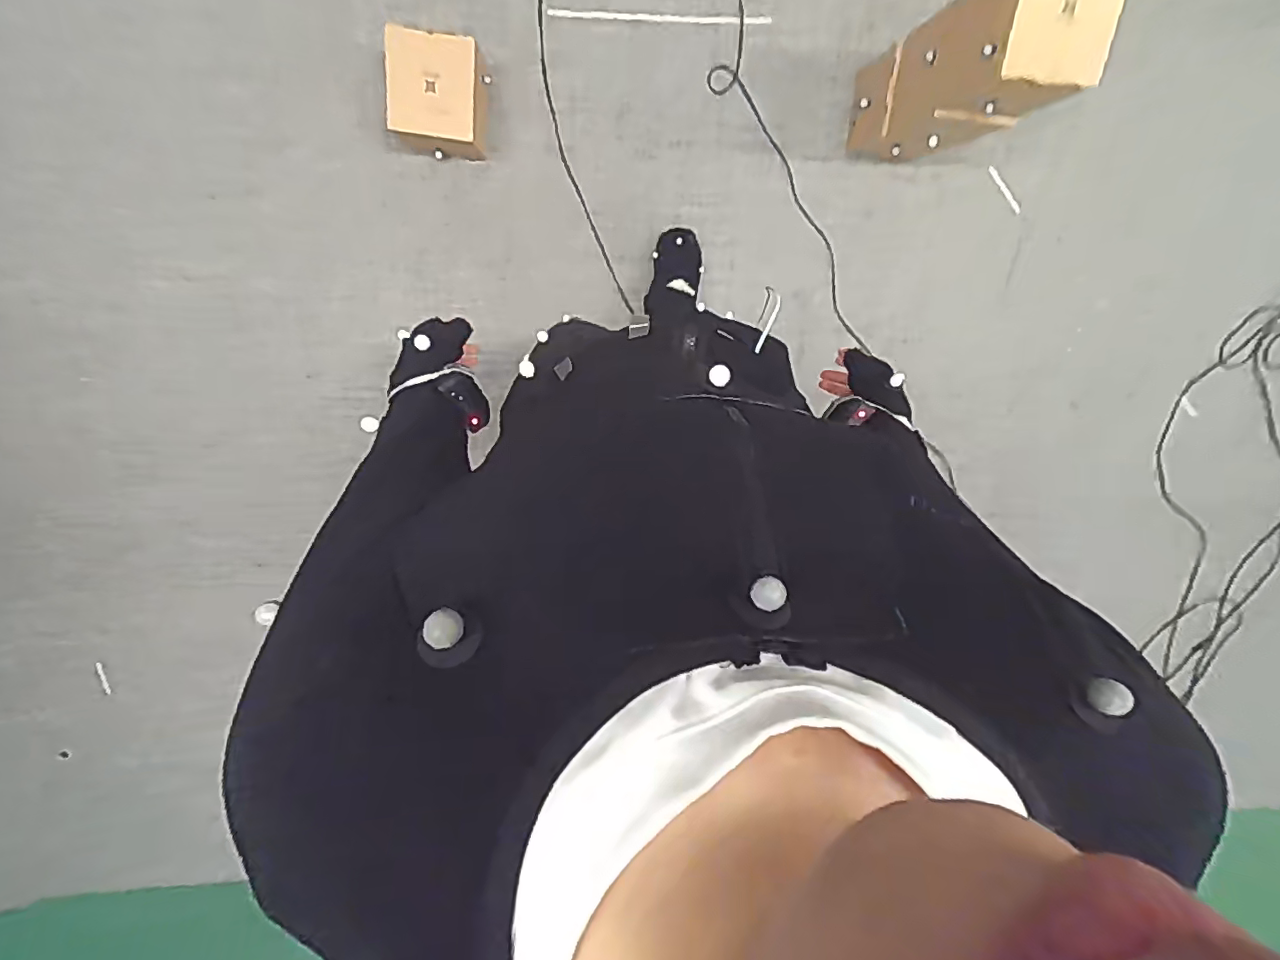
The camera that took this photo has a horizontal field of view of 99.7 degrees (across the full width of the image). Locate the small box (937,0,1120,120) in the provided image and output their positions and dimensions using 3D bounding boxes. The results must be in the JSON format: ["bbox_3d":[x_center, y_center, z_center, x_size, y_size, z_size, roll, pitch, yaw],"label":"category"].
[{"bbox_3d":[0.613,-0.709,0.866,0.168,0.176,0.179,1,110,-6],"label":"small box"}]

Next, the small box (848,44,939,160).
[{"bbox_3d":[0.578,-0.810,1.175,0.179,0.176,0.168,1,110,-5],"label":"small box"}]

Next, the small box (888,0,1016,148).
[{"bbox_3d":[0.599,-0.755,1.022,0.168,0.176,0.179,2,110,-6],"label":"small box"}]

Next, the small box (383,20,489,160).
[{"bbox_3d":[-0.405,-0.774,1.093,0.168,0.176,0.179,5,109,-6],"label":"small box"}]
